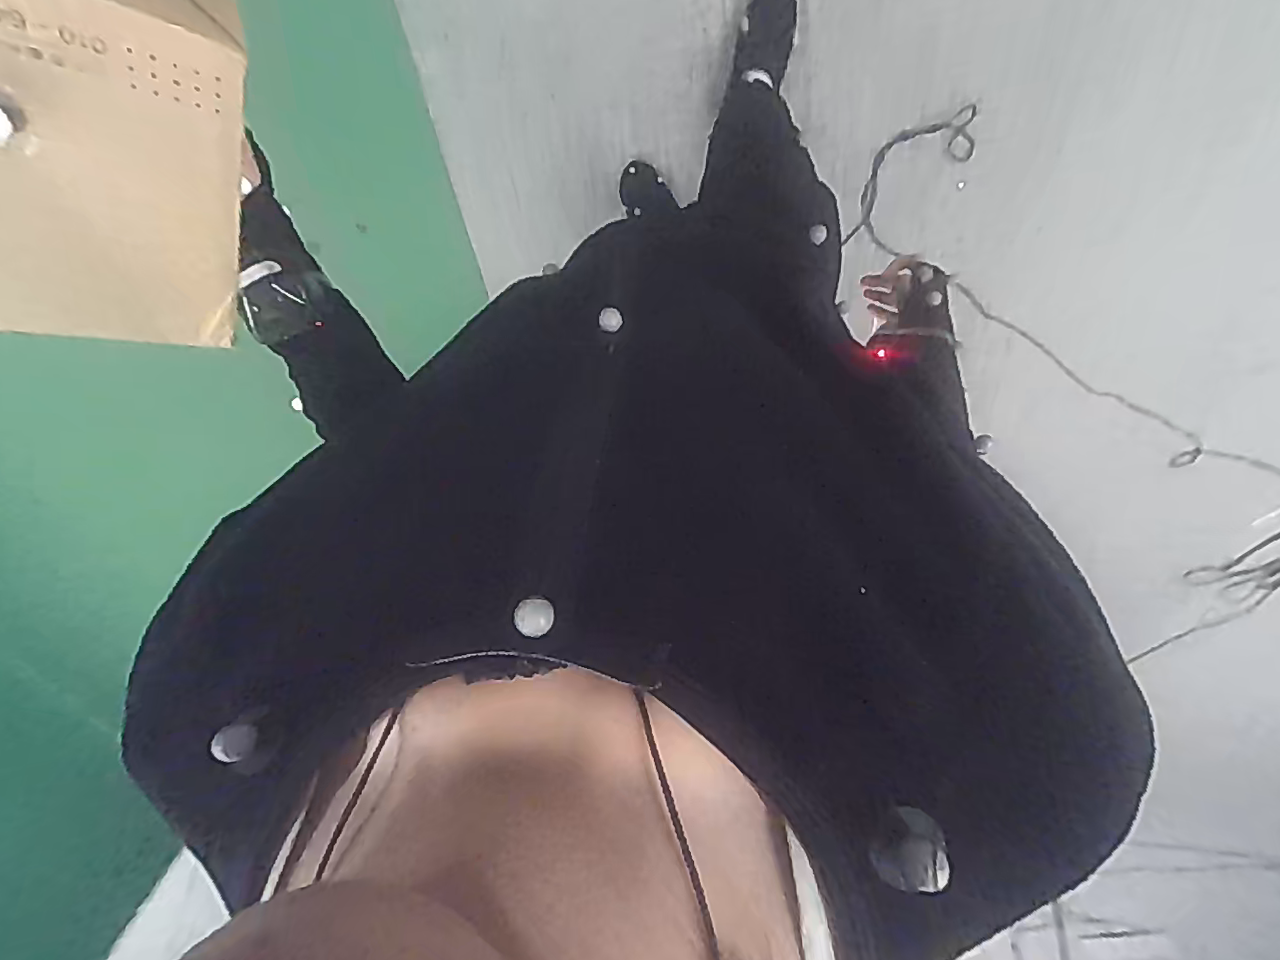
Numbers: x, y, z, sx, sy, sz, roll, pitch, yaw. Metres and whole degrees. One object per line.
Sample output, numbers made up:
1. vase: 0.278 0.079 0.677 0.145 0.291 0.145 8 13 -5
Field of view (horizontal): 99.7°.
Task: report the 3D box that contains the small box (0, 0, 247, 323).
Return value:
1. small box: -0.282 -0.202 0.235 0.168 0.179 0.176 -3 149 -40
